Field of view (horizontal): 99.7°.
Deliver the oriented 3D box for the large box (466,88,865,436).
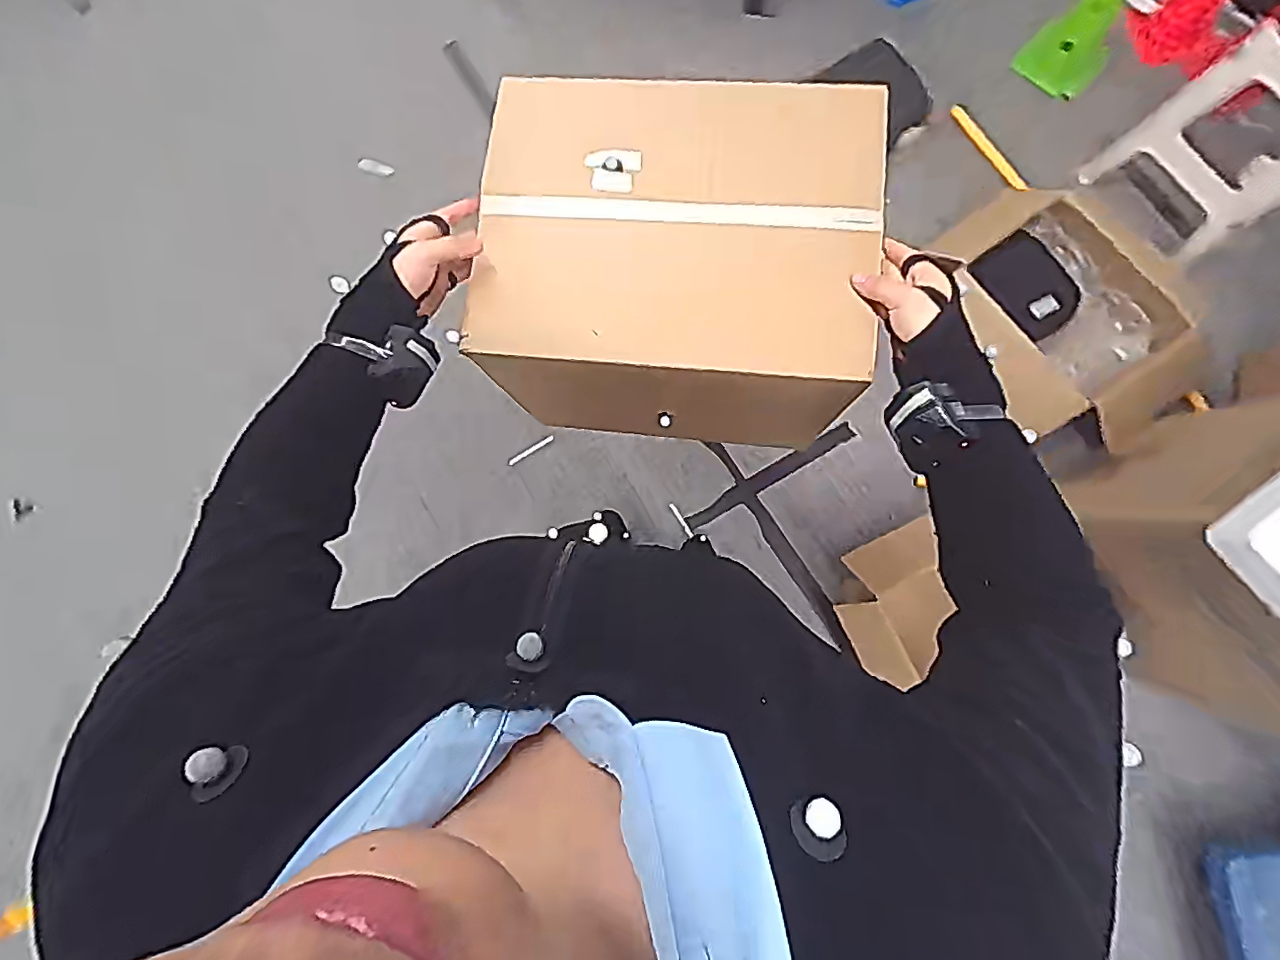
[{"bbox_3d":[0.041,-0.243,0.702,0.408,0.320,0.320,4,81,6],"label":"large box"}]
